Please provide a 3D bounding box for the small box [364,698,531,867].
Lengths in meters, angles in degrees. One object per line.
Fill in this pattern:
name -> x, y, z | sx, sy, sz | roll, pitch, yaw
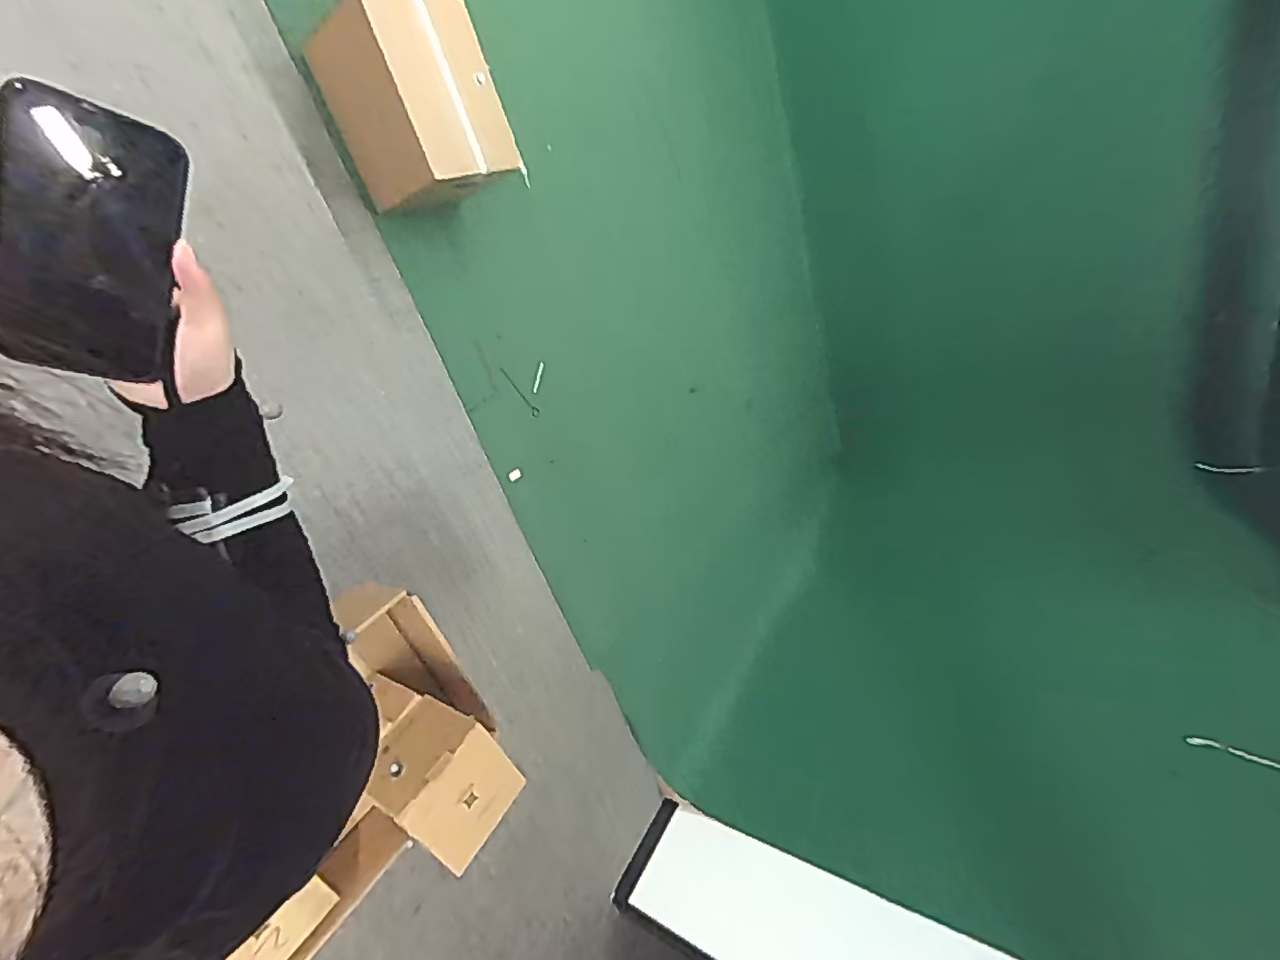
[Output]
small box -> -0.326, 0.497, 0.918 | 0.168, 0.176, 0.179 | -47, 126, -38
